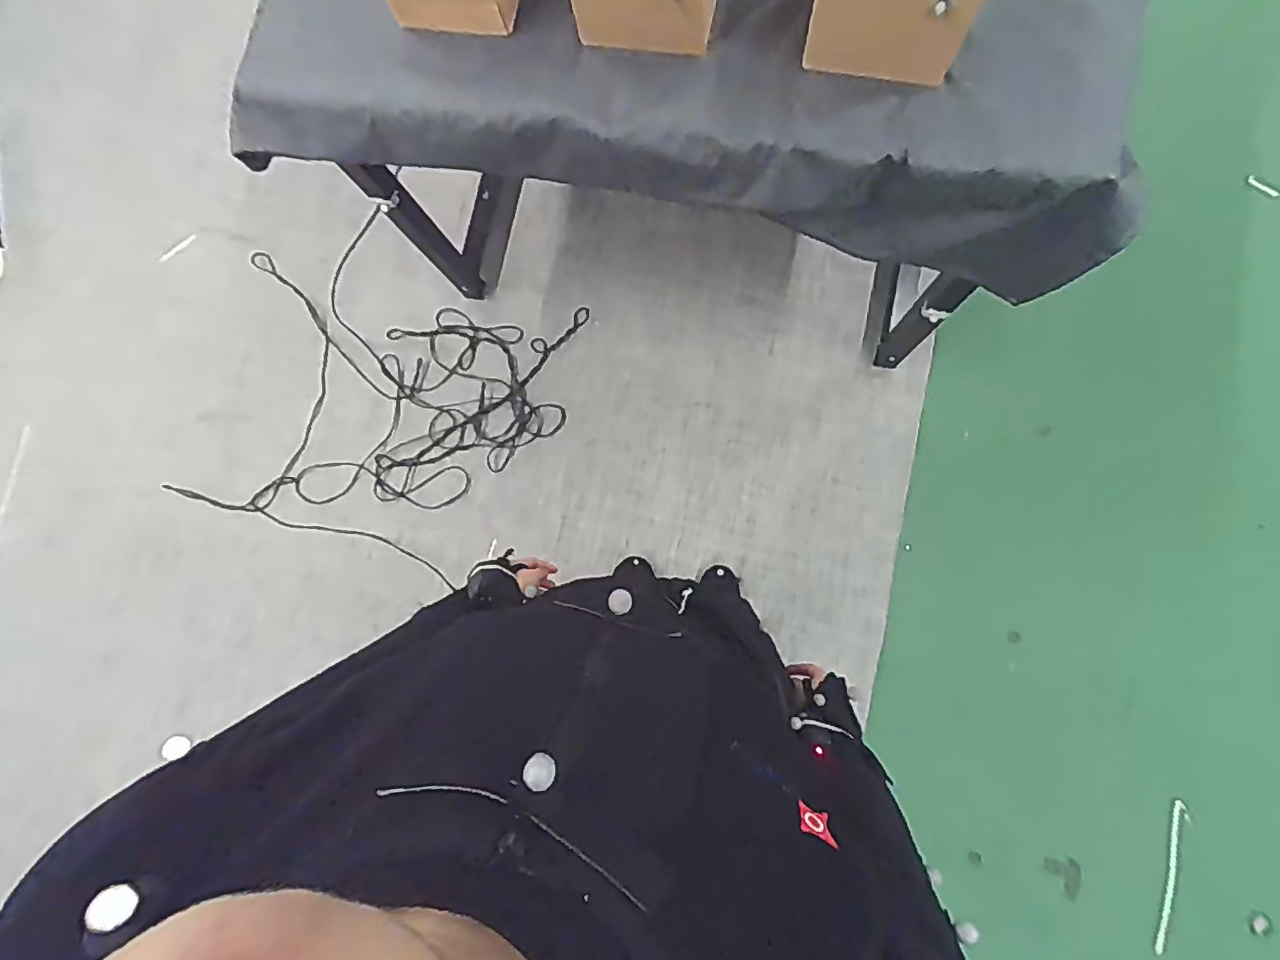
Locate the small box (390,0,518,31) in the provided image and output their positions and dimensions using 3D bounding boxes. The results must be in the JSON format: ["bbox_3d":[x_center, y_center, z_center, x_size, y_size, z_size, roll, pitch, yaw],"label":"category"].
[{"bbox_3d":[-0.261,-0.736,0.706,0.179,0.176,0.168,11,84,8],"label":"small box"}]

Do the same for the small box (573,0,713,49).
[{"bbox_3d":[0.010,-0.676,0.664,0.179,0.176,0.168,11,83,10],"label":"small box"}]
